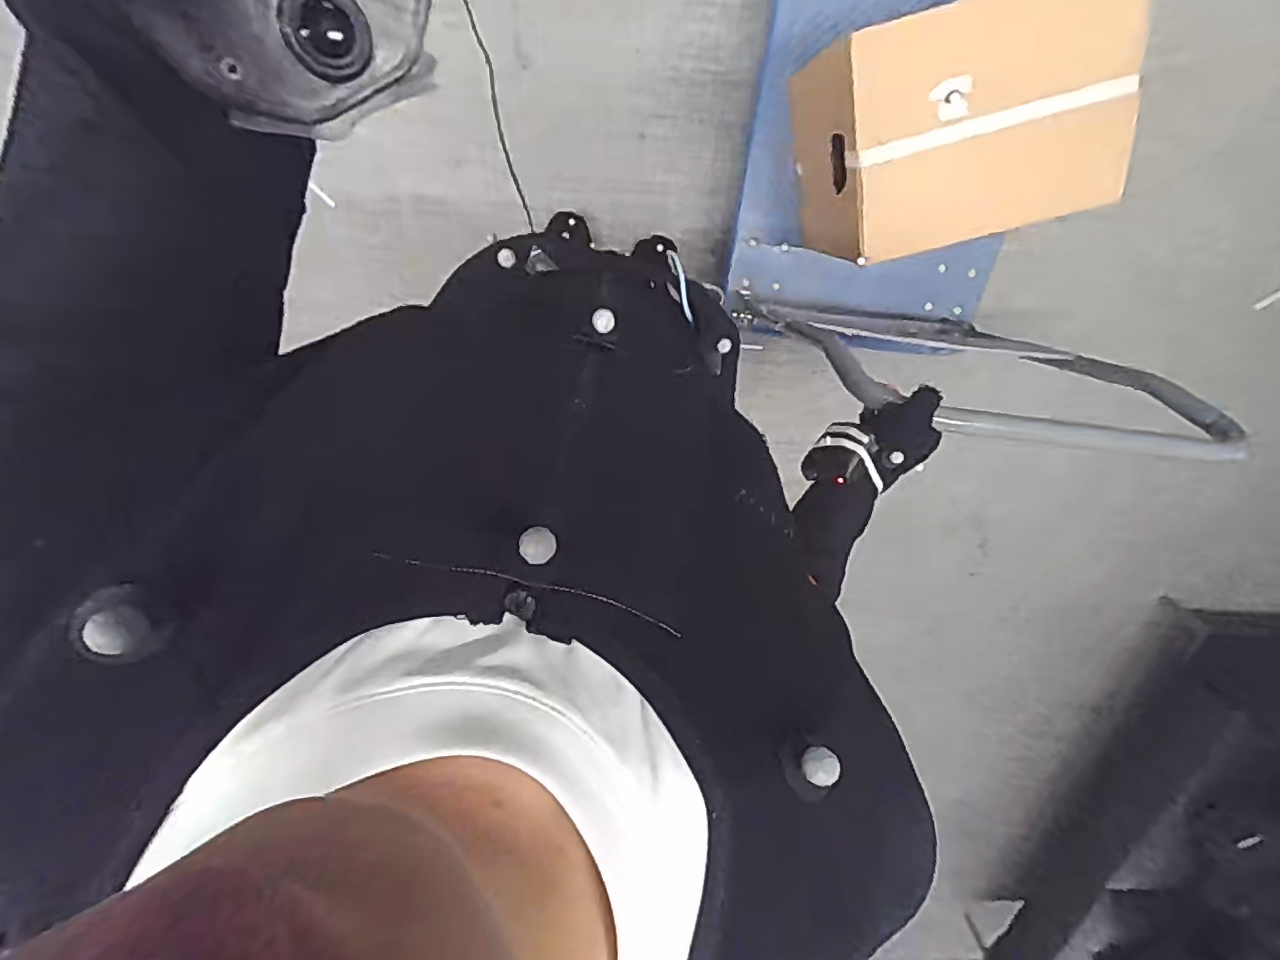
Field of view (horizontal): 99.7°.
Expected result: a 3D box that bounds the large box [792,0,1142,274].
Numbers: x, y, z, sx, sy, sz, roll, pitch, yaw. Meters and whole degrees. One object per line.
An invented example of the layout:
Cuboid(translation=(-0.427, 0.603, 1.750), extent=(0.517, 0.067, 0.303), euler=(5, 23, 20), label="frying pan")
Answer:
Cuboid(translation=(0.512, -0.584, 0.935), extent=(0.408, 0.320, 0.320), euler=(-12, 117, 5), label="large box")
